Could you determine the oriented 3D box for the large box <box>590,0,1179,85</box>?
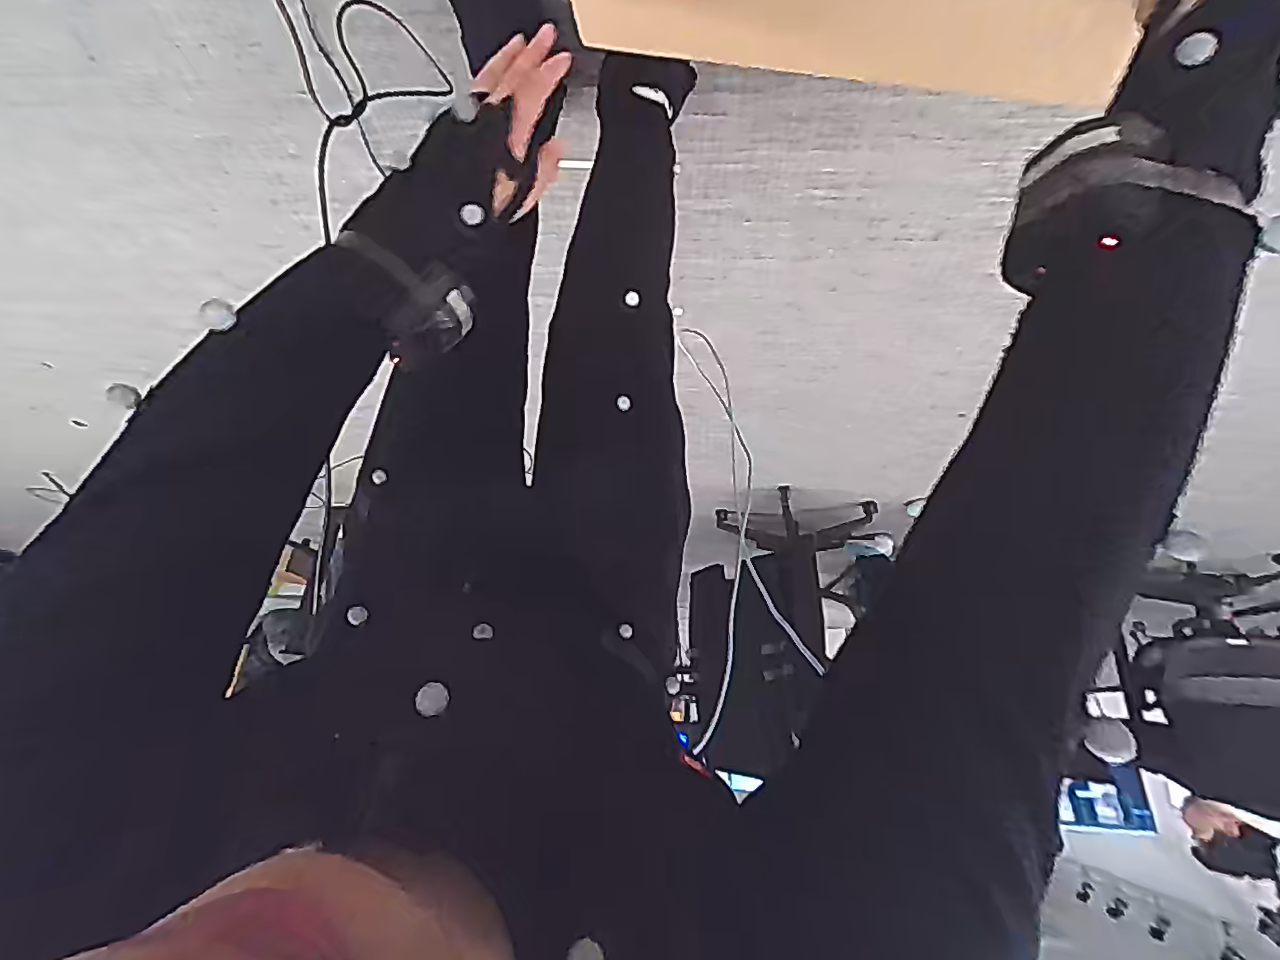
[{"bbox_3d":[0.178,-0.512,0.329,0.408,0.320,0.320,18,162,16],"label":"large box"}]
